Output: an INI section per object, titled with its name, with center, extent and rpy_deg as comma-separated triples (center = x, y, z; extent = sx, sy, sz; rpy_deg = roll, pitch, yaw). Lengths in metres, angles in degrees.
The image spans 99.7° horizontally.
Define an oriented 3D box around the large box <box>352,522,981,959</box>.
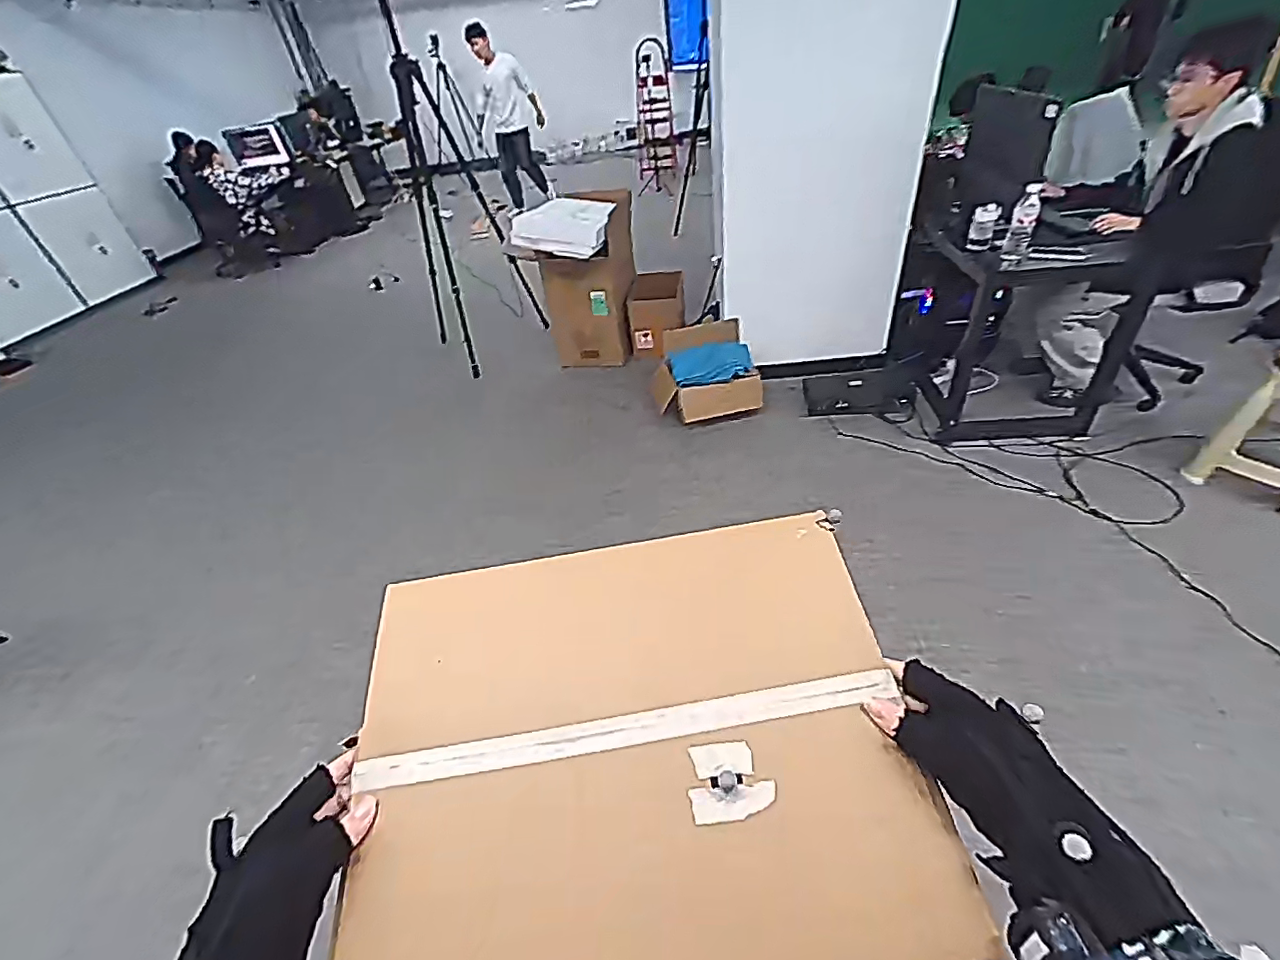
[large box]
center = 0.005, 0.284, 0.532
extent = 0.408, 0.320, 0.320
rpy_deg = -10, 53, -1
